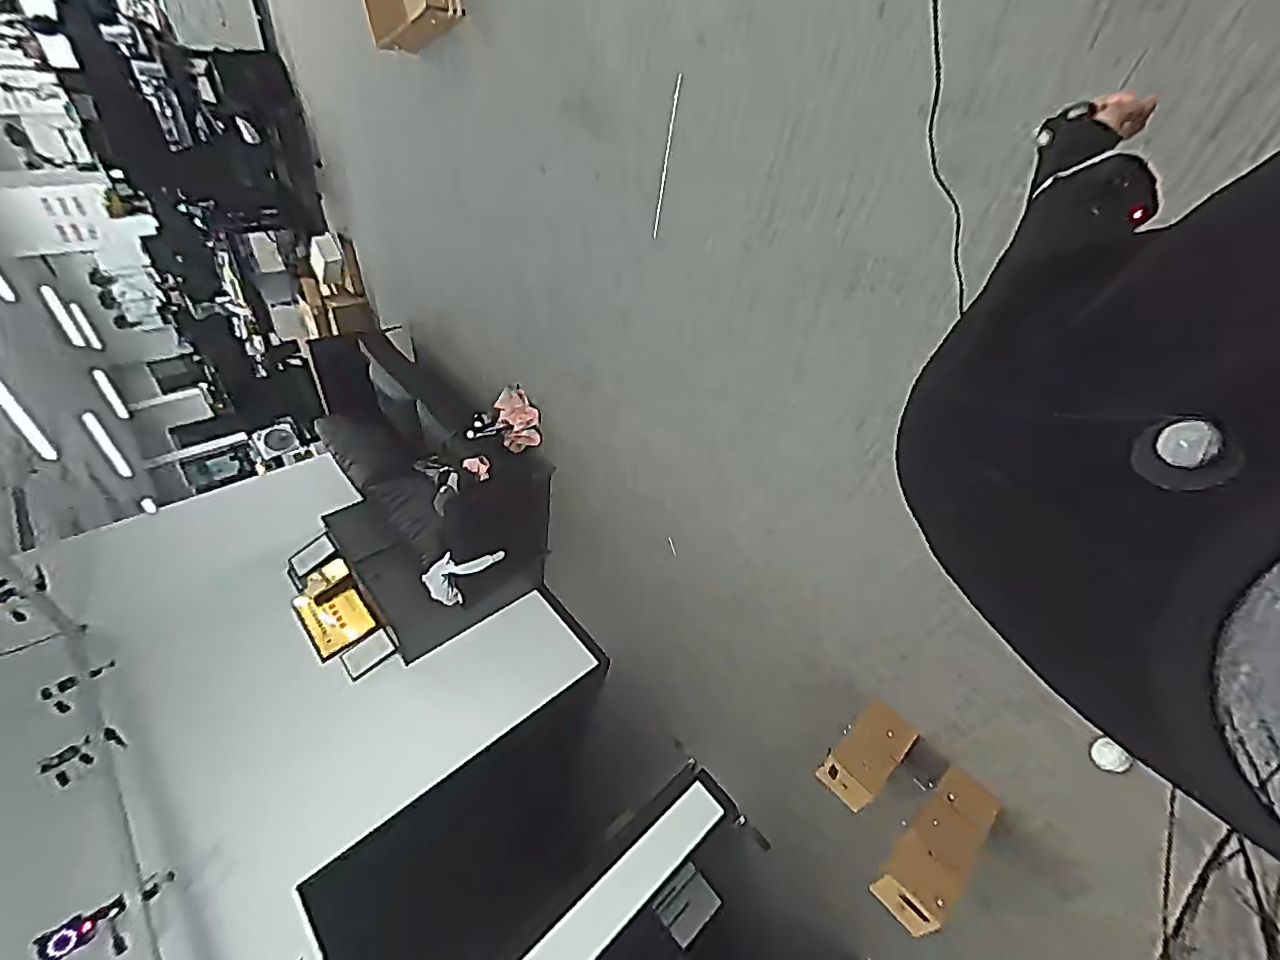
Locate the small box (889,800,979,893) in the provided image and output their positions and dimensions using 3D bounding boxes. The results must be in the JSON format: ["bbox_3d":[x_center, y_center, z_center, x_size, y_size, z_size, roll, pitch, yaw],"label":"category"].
[{"bbox_3d":[0.960,1.185,1.765,0.179,0.176,0.168,38,138,30],"label":"small box"}]

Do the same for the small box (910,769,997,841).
[{"bbox_3d":[1.080,1.135,1.864,0.179,0.176,0.168,38,138,31],"label":"small box"}]
